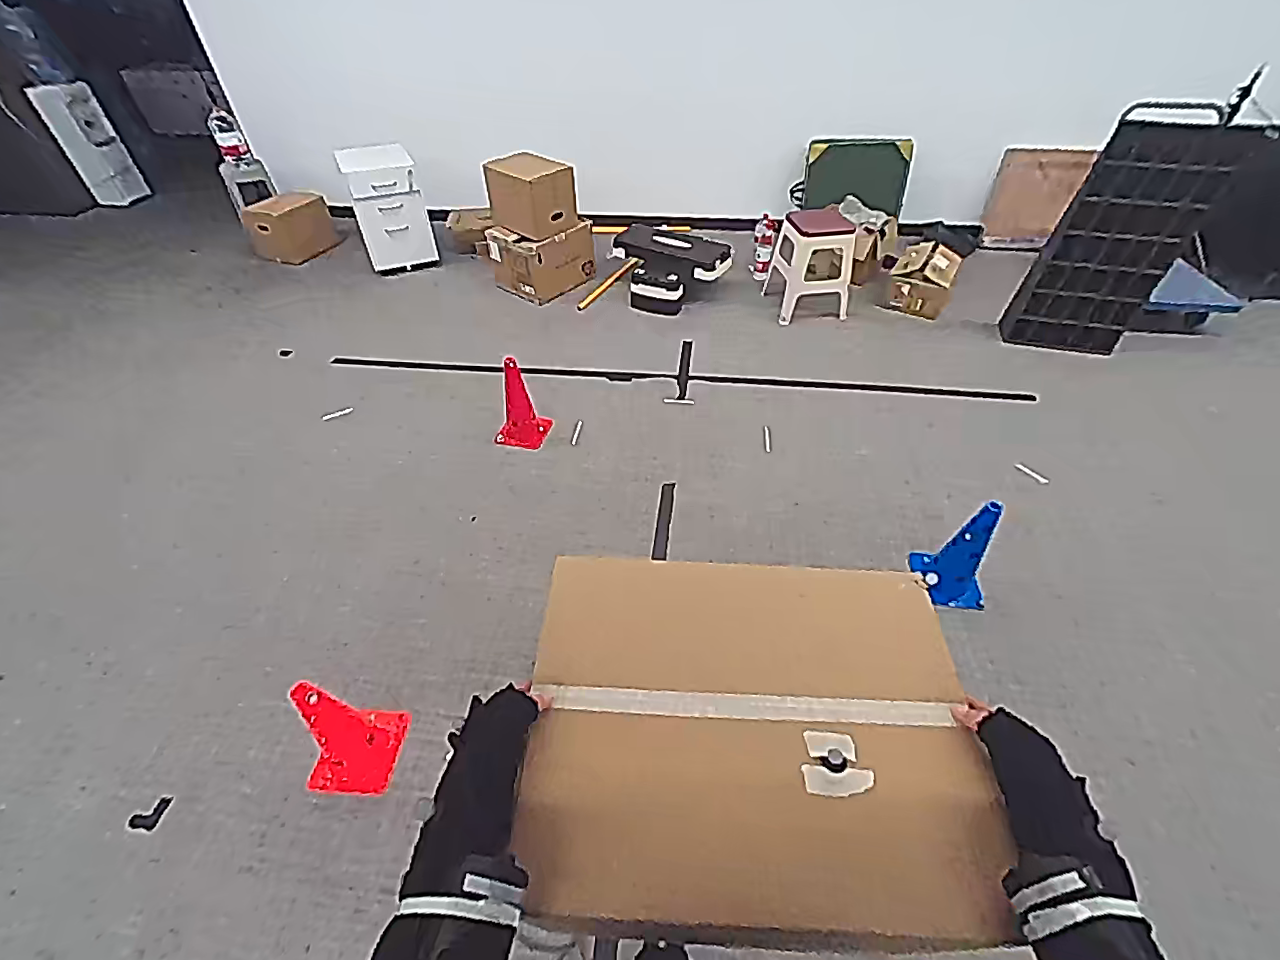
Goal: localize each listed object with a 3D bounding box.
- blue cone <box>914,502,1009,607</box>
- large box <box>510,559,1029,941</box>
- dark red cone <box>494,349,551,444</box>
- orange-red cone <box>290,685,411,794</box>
[{"bbox_3d":[0.997,0.205,1.637,0.192,0.380,0.193,7,45,7],"label":"blue cone"},{"bbox_3d":[0.098,0.309,0.616,0.408,0.320,0.320,3,48,1],"label":"large box"},{"bbox_3d":[-0.491,-0.343,2.160,0.201,0.394,0.202,9,46,9],"label":"dark red cone"},{"bbox_3d":[-0.714,0.575,1.266,0.198,0.360,0.199,2,46,4],"label":"orange-red cone"}]
